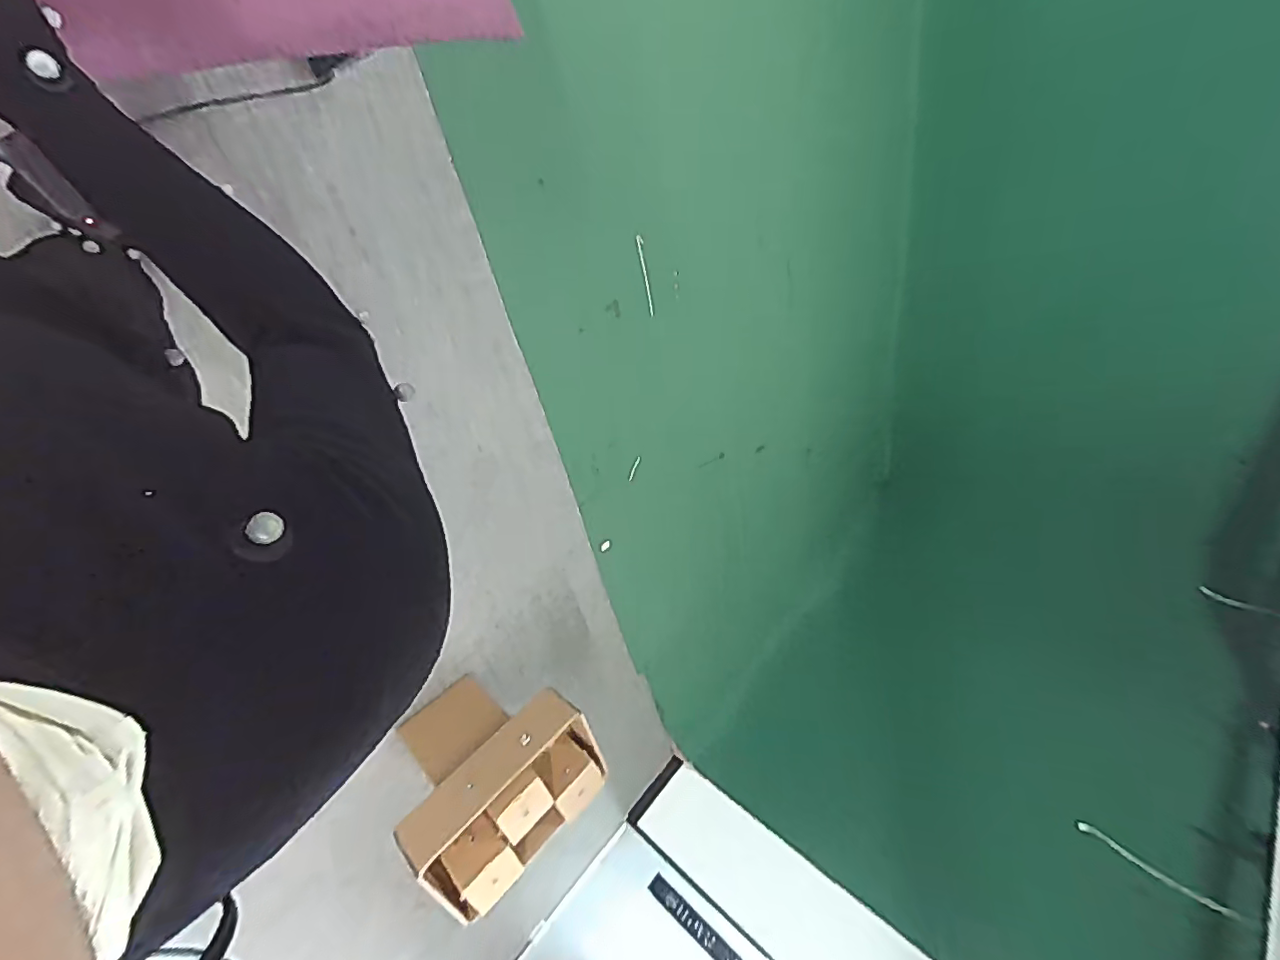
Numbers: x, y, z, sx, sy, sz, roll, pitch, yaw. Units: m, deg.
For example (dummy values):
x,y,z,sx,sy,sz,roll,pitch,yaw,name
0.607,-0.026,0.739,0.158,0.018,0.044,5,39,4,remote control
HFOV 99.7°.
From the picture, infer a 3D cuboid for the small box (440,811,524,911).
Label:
x,y,z,sx,sy,sz,roll,pitch,yaw,name
-0.502,1.203,1.719,0.168,0.176,0.179,-36,128,-31,small box
